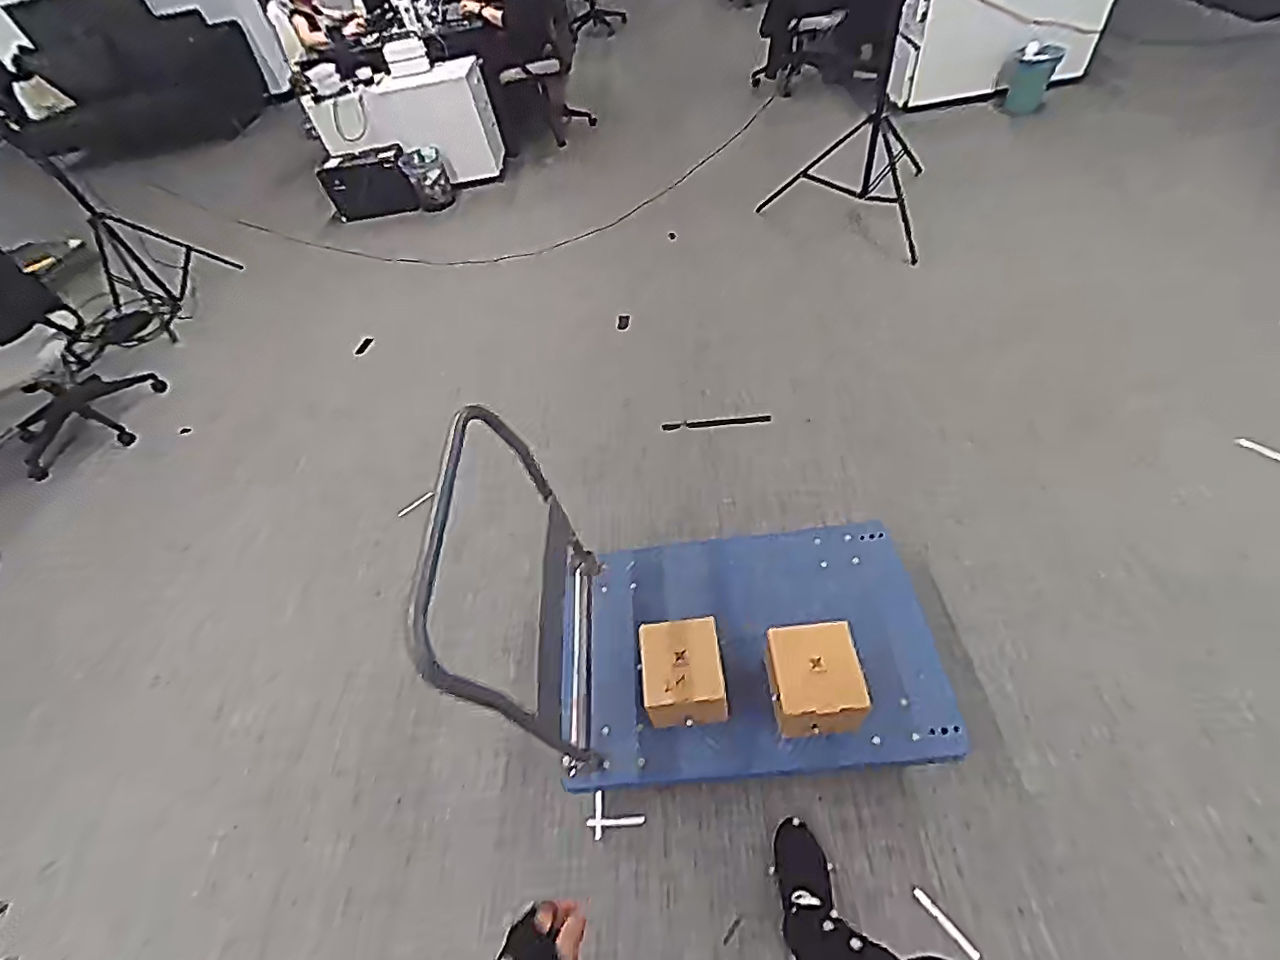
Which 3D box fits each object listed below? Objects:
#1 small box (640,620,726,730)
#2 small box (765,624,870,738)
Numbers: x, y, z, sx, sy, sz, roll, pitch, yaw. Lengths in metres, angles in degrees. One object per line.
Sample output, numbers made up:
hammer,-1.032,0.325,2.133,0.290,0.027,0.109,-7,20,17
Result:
small box,0.094,0.431,1.190,0.168,0.176,0.179,-8,51,5
small box,0.363,0.427,1.144,0.168,0.176,0.179,-8,51,5
